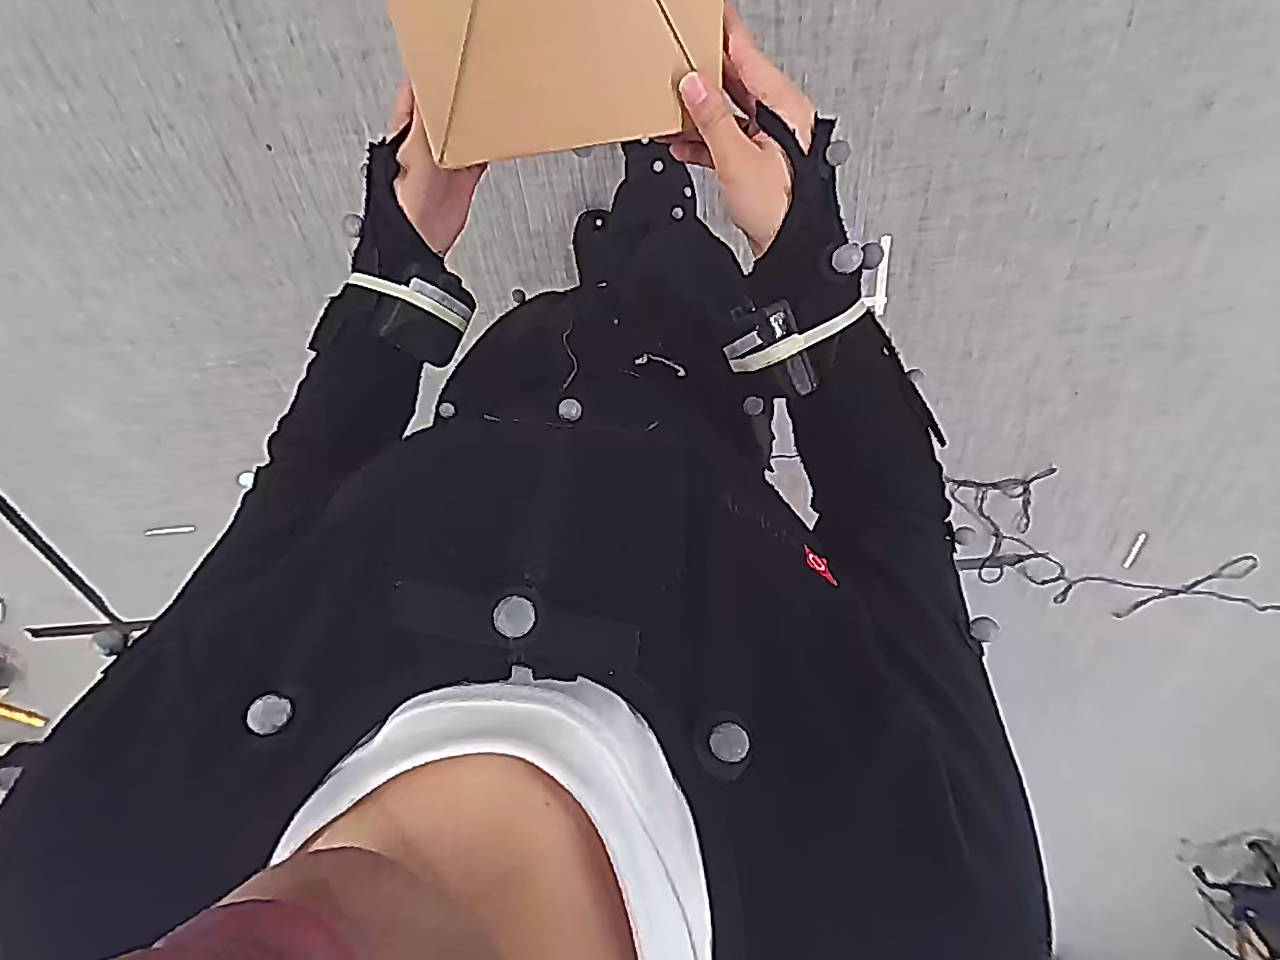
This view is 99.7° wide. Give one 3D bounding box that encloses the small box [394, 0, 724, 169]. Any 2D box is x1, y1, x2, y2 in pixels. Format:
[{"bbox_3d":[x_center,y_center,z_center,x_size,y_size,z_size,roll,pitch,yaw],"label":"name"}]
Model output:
[{"bbox_3d":[-0.055,-0.306,0.305,0.168,0.176,0.179,-13,136,-6],"label":"small box"}]
